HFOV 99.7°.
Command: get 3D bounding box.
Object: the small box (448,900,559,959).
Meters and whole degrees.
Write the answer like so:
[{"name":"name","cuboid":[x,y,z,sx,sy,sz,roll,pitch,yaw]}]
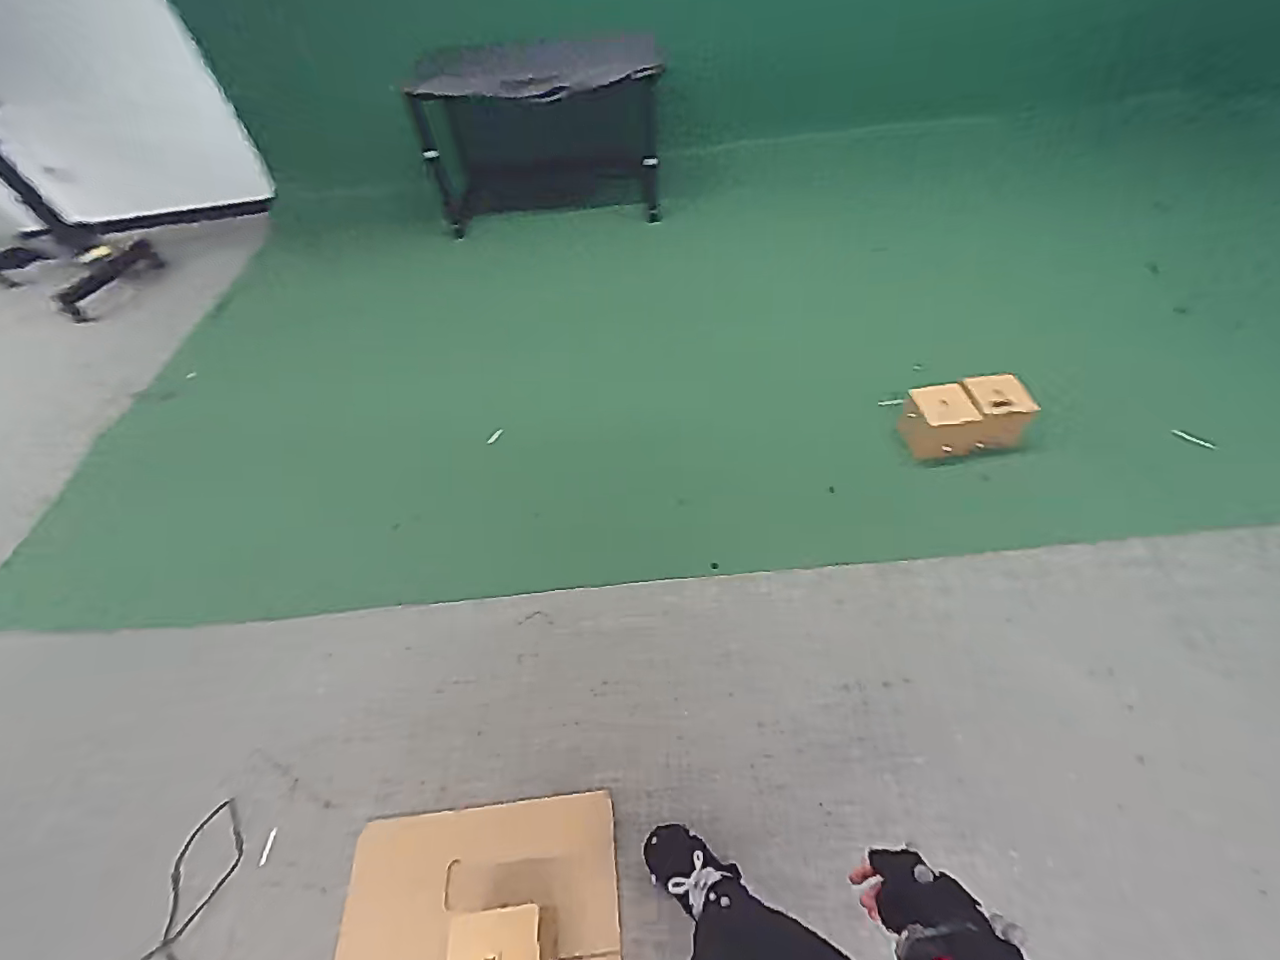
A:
[{"name":"small box","cuboid":[-0.262,0.937,1.053,0.179,0.176,0.168,-9,51,-1]}]
